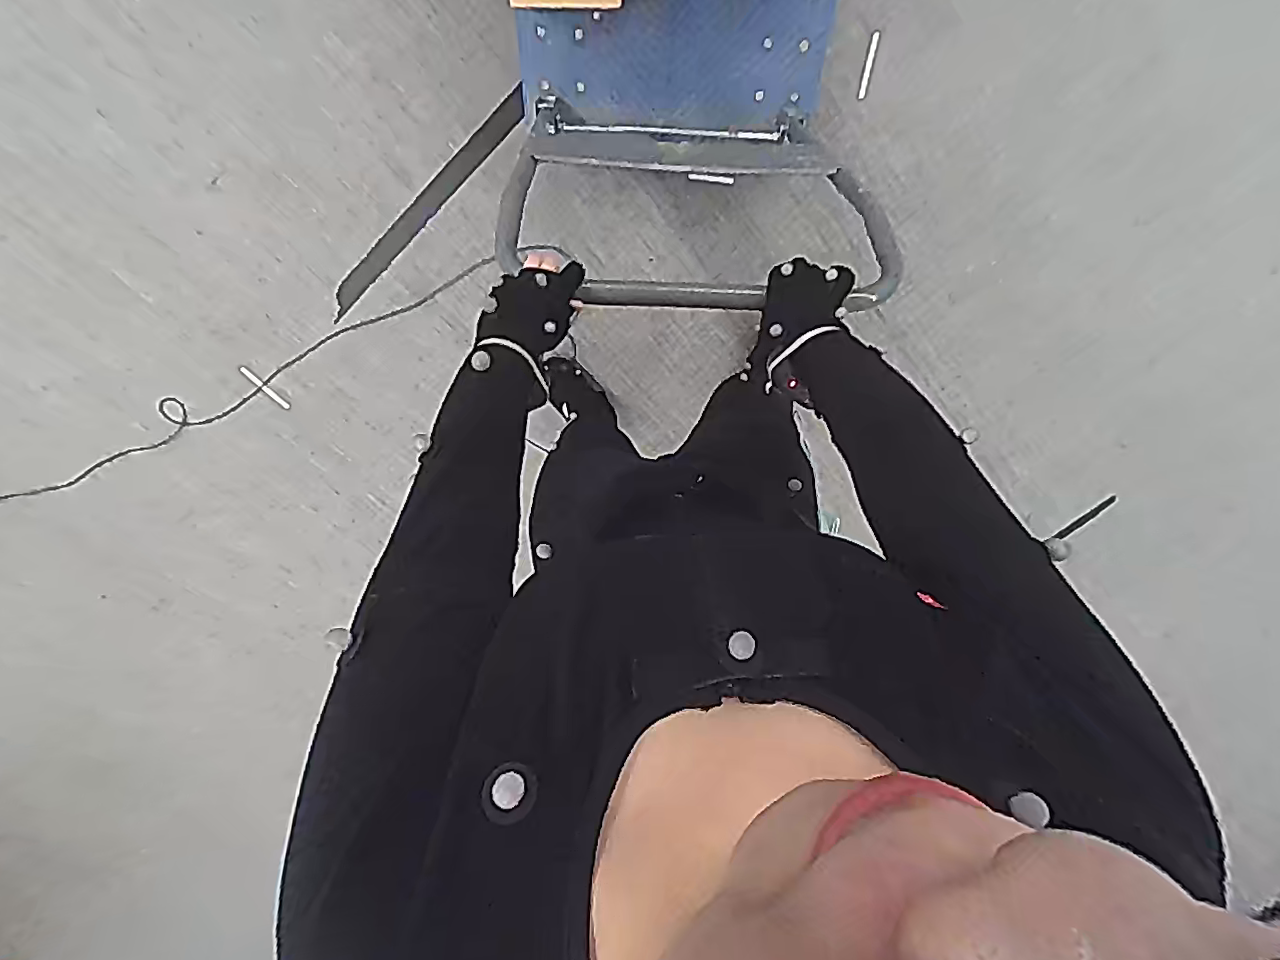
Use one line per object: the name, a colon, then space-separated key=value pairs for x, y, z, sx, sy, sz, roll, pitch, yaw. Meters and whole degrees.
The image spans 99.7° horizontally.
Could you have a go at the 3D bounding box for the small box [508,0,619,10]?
small box: x=-0.121 y=-0.852 z=0.851 sx=0.179 sy=0.176 sz=0.168 roll=-2 pitch=132 yaw=-2
